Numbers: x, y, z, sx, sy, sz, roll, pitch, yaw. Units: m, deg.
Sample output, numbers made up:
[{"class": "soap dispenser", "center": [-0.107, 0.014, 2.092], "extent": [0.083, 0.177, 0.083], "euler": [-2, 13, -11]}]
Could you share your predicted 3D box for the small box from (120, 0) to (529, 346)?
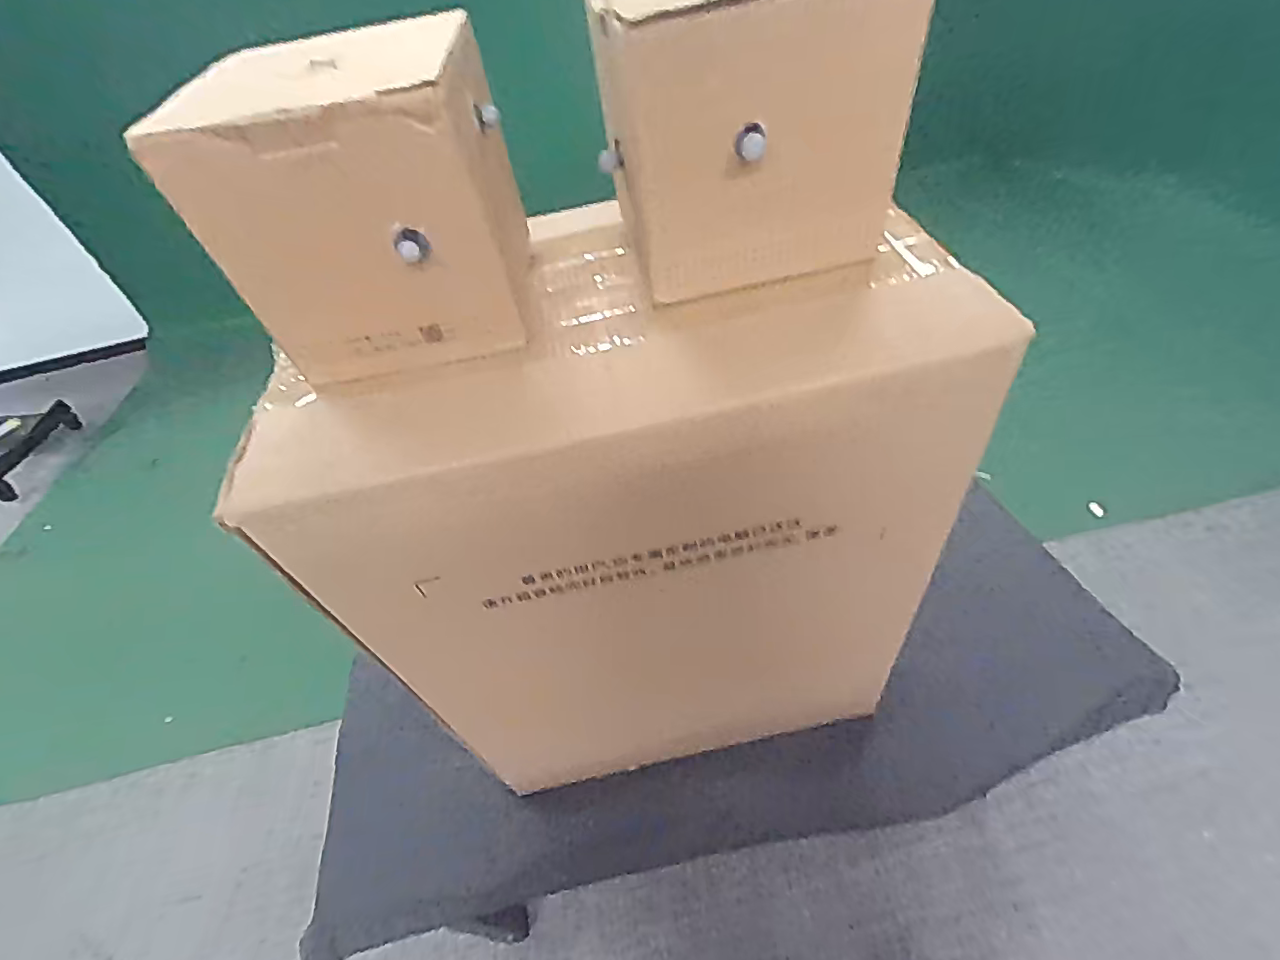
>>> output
[{"class": "small box", "center": [-0.177, -0.208, 0.379], "extent": [0.168, 0.176, 0.179], "euler": [-9, 48, -1]}]

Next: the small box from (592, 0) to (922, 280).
[{"class": "small box", "center": [0.074, -0.268, 0.390], "extent": [0.179, 0.176, 0.168], "euler": [-13, 49, -2]}]
